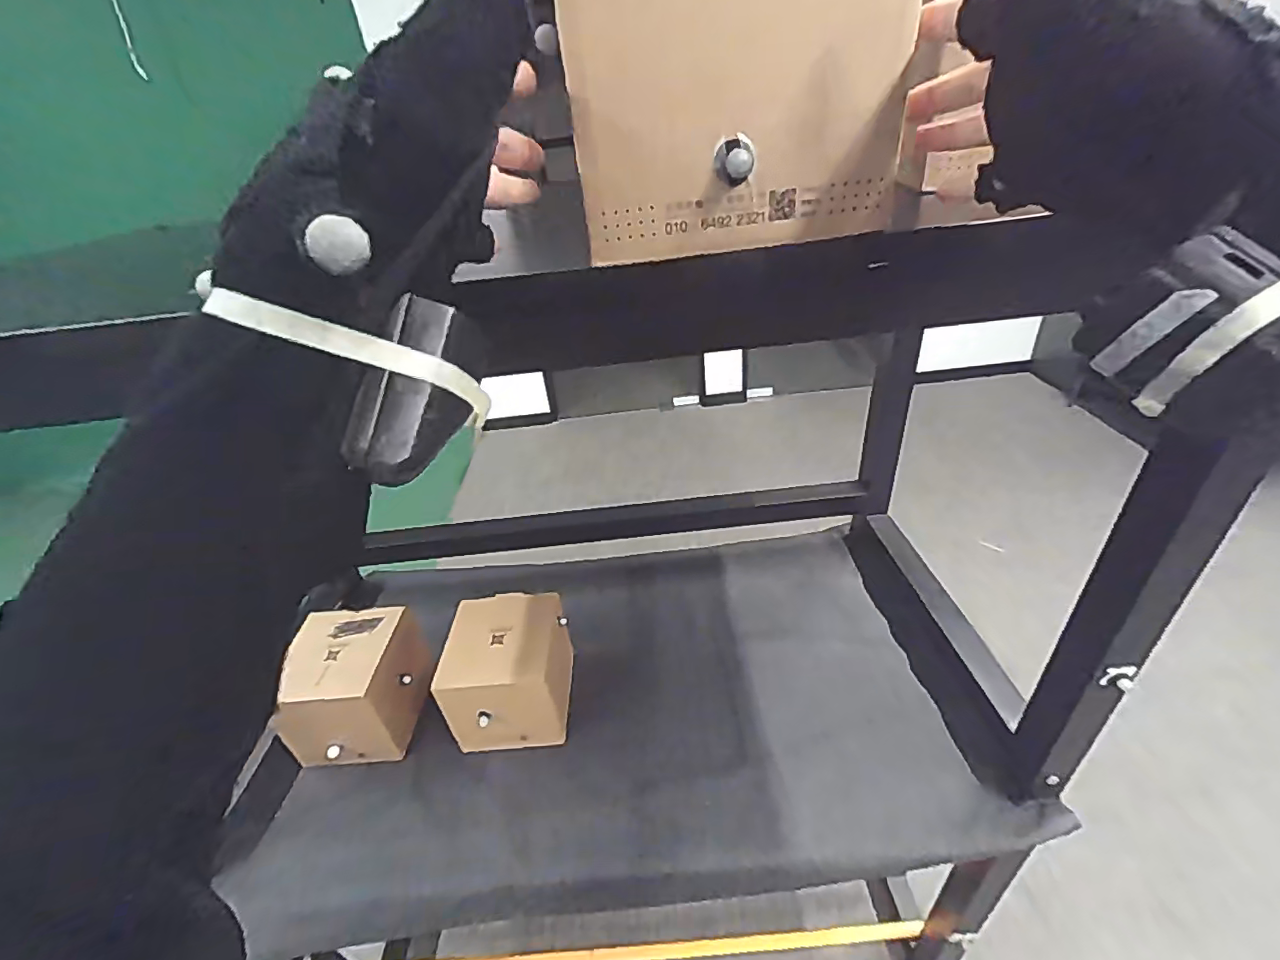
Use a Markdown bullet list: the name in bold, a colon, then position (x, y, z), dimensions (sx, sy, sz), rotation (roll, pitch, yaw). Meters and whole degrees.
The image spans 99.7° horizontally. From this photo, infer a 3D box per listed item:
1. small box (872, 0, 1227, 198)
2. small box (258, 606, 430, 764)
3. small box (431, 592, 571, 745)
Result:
- **small box**: position (0.282, -0.315, 0.401), dimensions (0.168, 0.176, 0.179), rotation (0, 34, 11)
- **small box**: position (-0.464, 0.333, 0.885), dimensions (0.168, 0.176, 0.179), rotation (-5, 34, 2)
- **small box**: position (-0.212, 0.310, 0.880), dimensions (0.168, 0.176, 0.179), rotation (-5, 33, 2)
